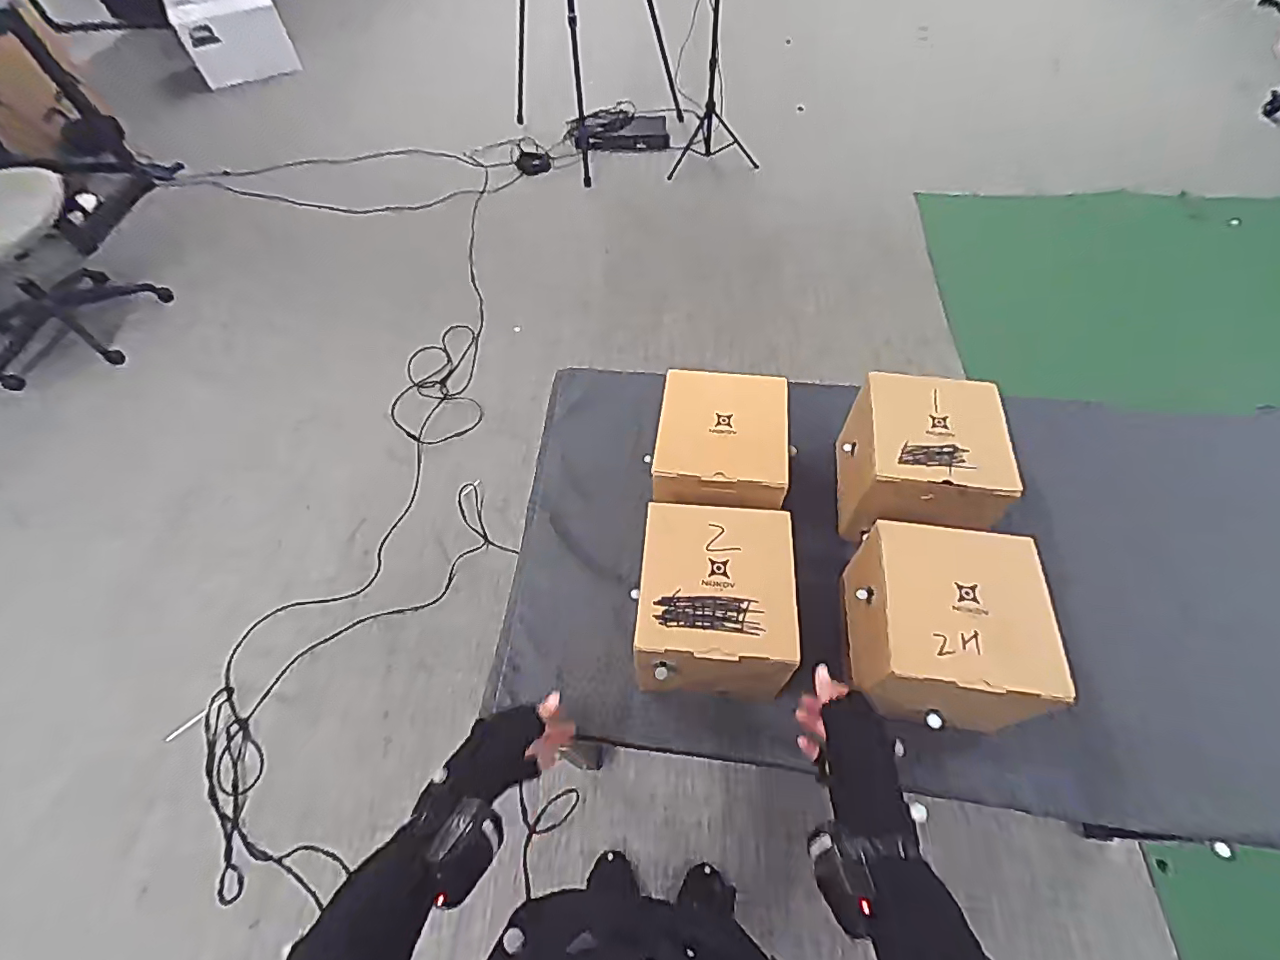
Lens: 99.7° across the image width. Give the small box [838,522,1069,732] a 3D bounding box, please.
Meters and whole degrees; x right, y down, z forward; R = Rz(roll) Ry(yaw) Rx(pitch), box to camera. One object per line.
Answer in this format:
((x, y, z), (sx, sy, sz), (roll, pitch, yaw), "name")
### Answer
((0.335, 0.172, 0.625), (0.168, 0.176, 0.179), (7, 57, 6), "small box")
